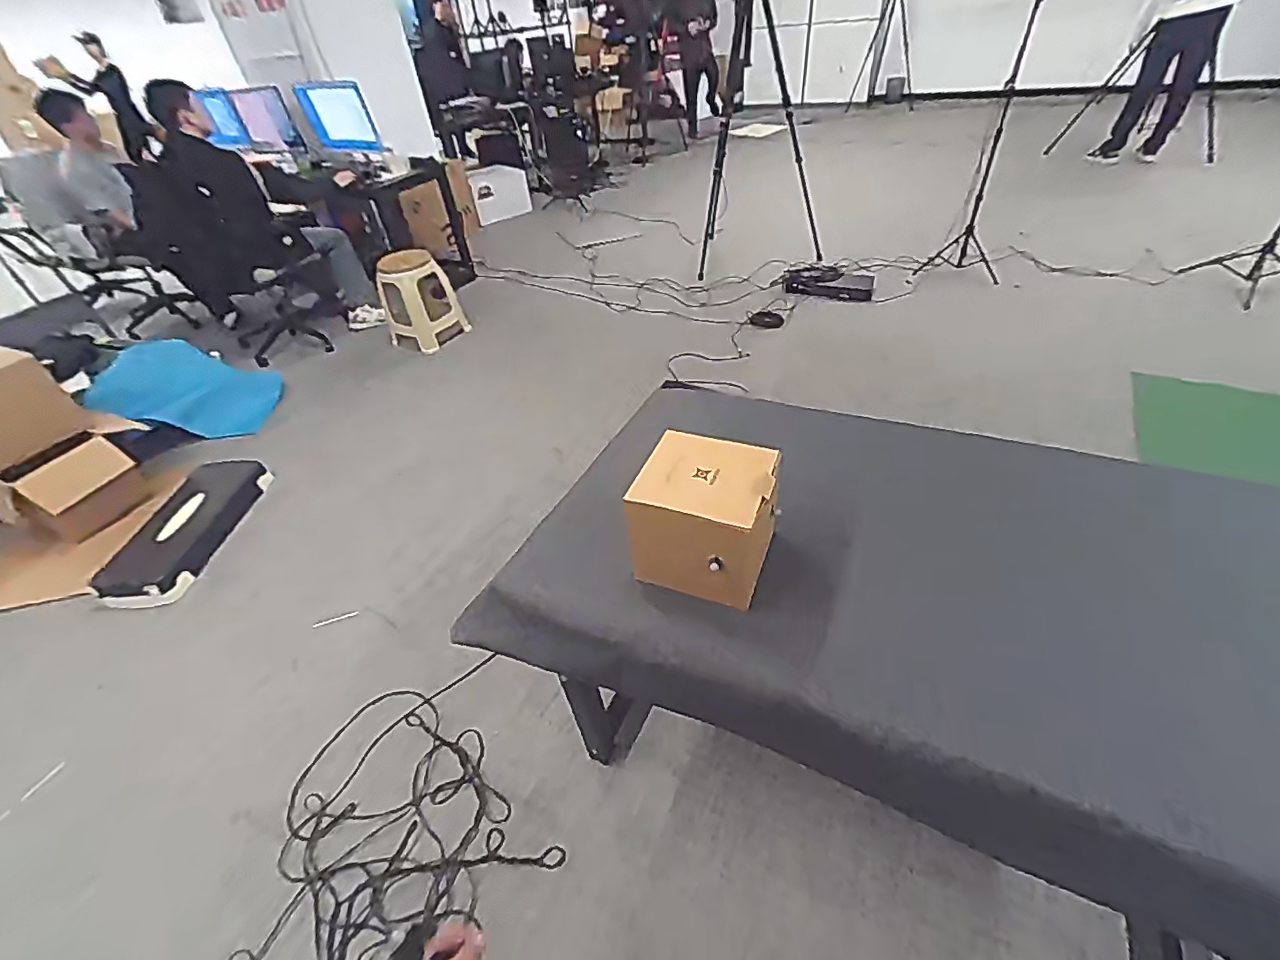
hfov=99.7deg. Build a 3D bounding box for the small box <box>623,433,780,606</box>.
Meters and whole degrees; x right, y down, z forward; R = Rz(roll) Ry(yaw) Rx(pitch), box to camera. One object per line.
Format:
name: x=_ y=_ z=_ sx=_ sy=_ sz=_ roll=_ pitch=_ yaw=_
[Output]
small box: x=0.094 y=0.057 z=0.785 sx=0.179 sy=0.176 sz=0.168 roll=12 pitch=43 yaw=21
